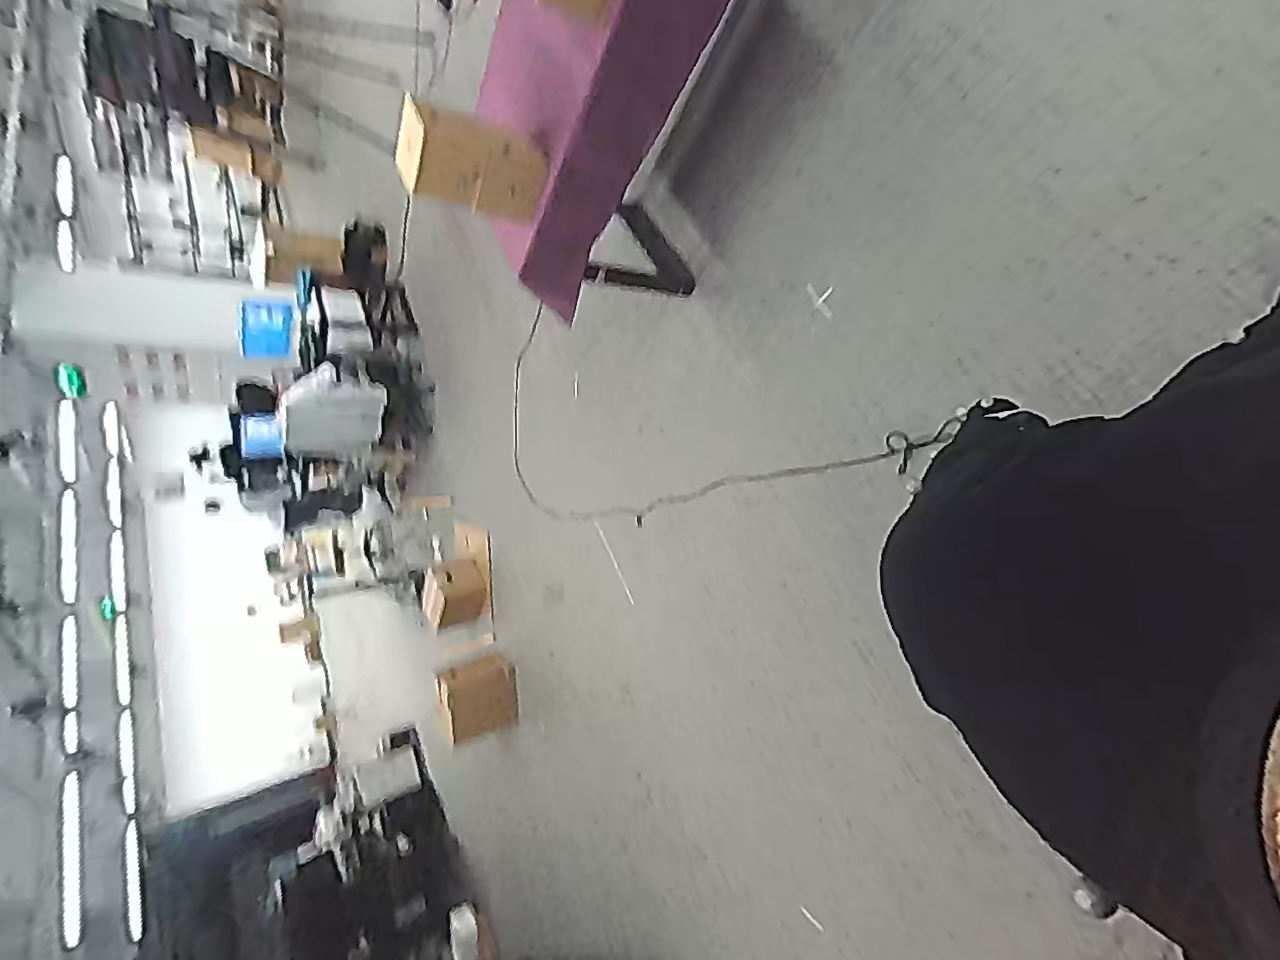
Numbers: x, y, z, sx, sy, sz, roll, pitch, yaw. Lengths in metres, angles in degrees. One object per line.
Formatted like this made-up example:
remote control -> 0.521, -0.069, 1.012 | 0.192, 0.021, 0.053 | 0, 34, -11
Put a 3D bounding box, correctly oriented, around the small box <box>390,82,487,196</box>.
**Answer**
small box -> -0.515, -0.859, 1.378 | 0.168, 0.176, 0.179 | -51, 58, 41
